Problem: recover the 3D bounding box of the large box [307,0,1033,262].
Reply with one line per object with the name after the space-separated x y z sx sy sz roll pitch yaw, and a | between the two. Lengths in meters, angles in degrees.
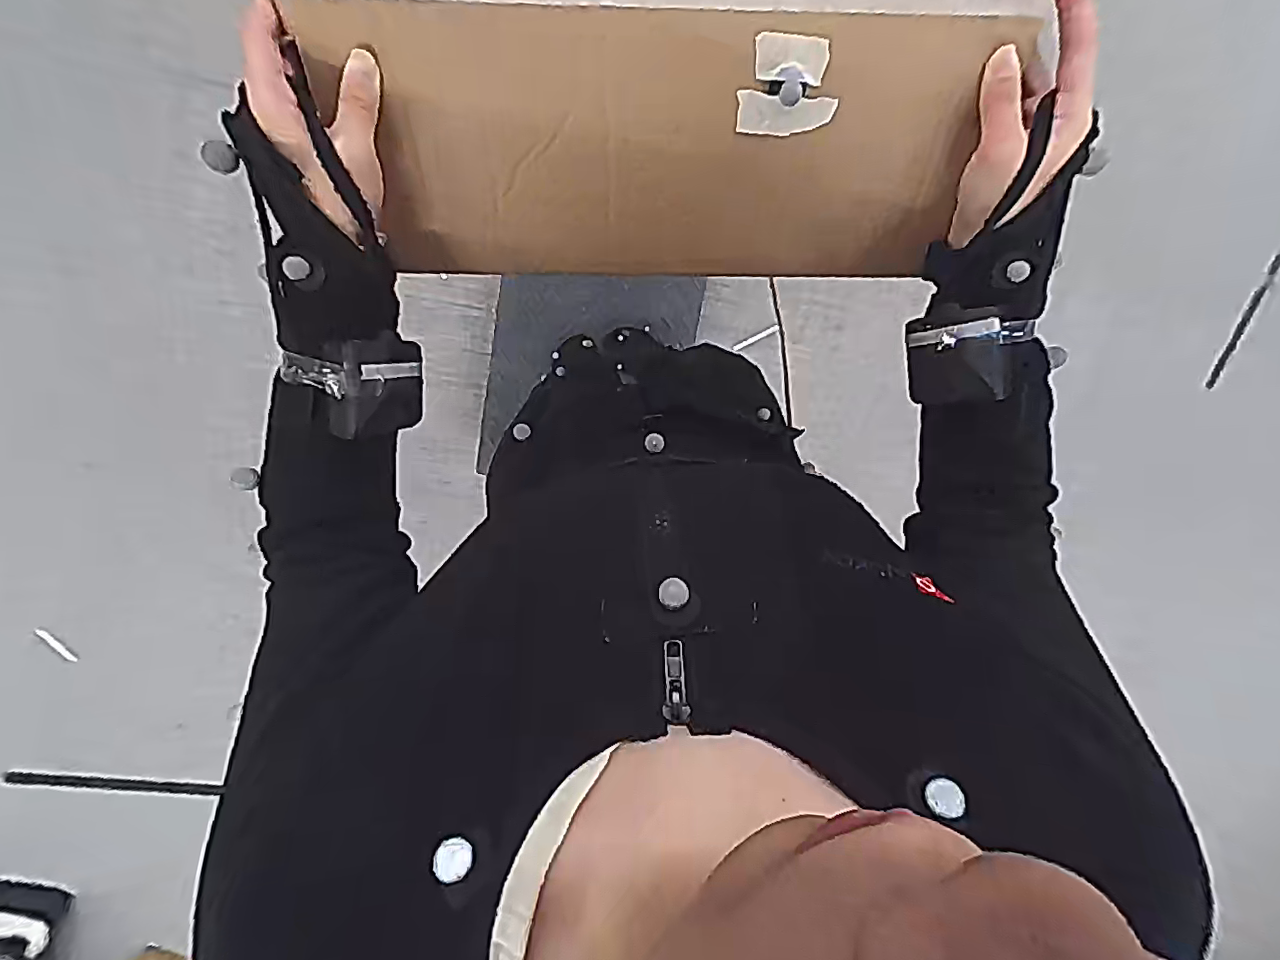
0.012 -0.371 0.392 0.408 0.320 0.320 -1 134 -4 | large box
